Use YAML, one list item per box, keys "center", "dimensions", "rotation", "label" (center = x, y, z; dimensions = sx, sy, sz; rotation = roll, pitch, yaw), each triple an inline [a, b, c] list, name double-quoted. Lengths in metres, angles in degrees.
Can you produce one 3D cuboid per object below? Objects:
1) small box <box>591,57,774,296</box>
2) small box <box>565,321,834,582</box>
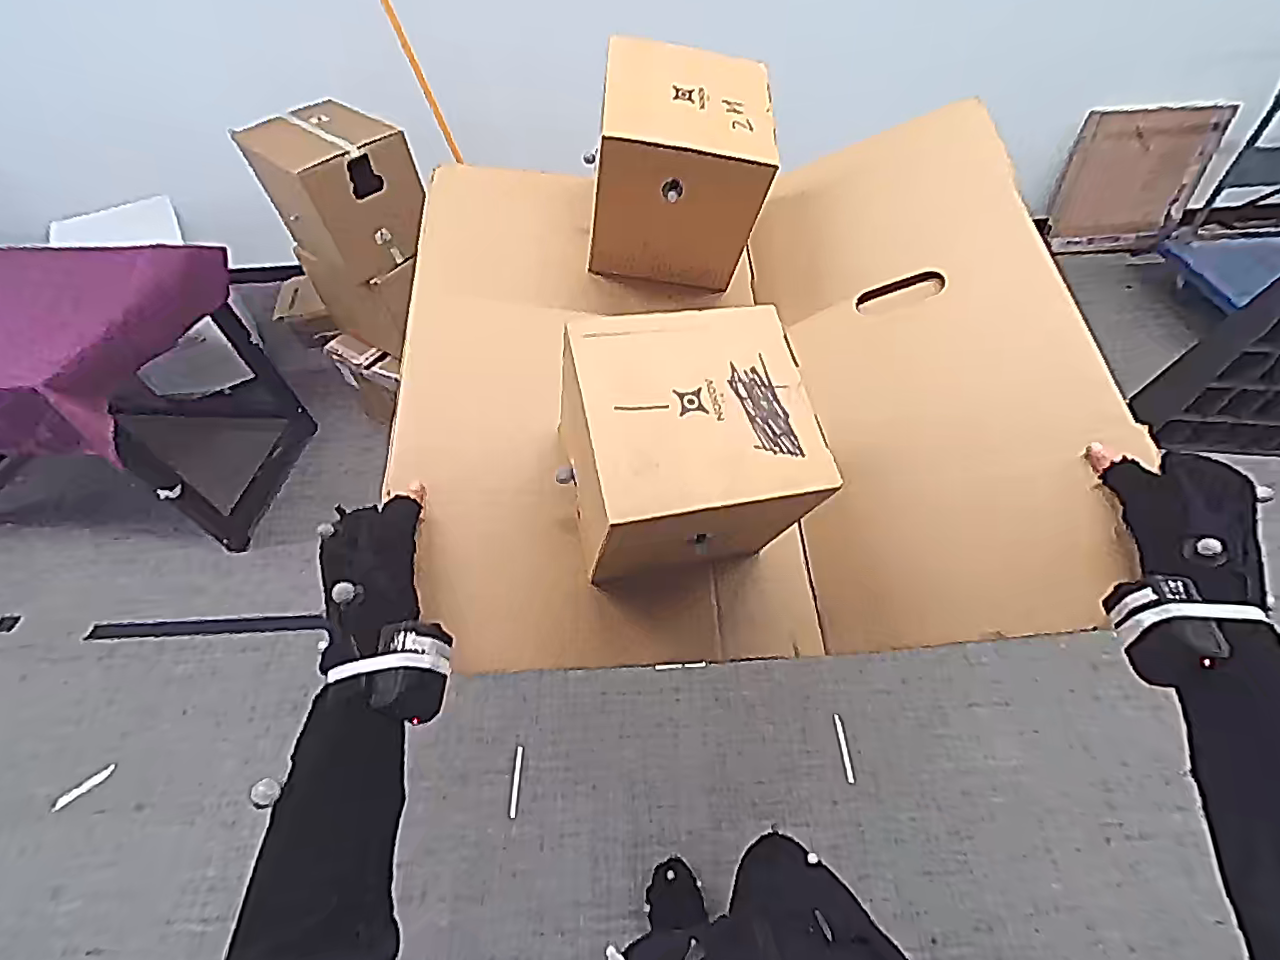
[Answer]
- center: [0.039, -0.339, 0.629]
  dimensions: [0.179, 0.176, 0.168]
  rotation: [6, 65, -8]
  label: "small box"
- center: [0.034, -0.018, 0.482]
  dimensions: [0.179, 0.176, 0.168]
  rotation: [-9, 68, -13]
  label: "small box"
